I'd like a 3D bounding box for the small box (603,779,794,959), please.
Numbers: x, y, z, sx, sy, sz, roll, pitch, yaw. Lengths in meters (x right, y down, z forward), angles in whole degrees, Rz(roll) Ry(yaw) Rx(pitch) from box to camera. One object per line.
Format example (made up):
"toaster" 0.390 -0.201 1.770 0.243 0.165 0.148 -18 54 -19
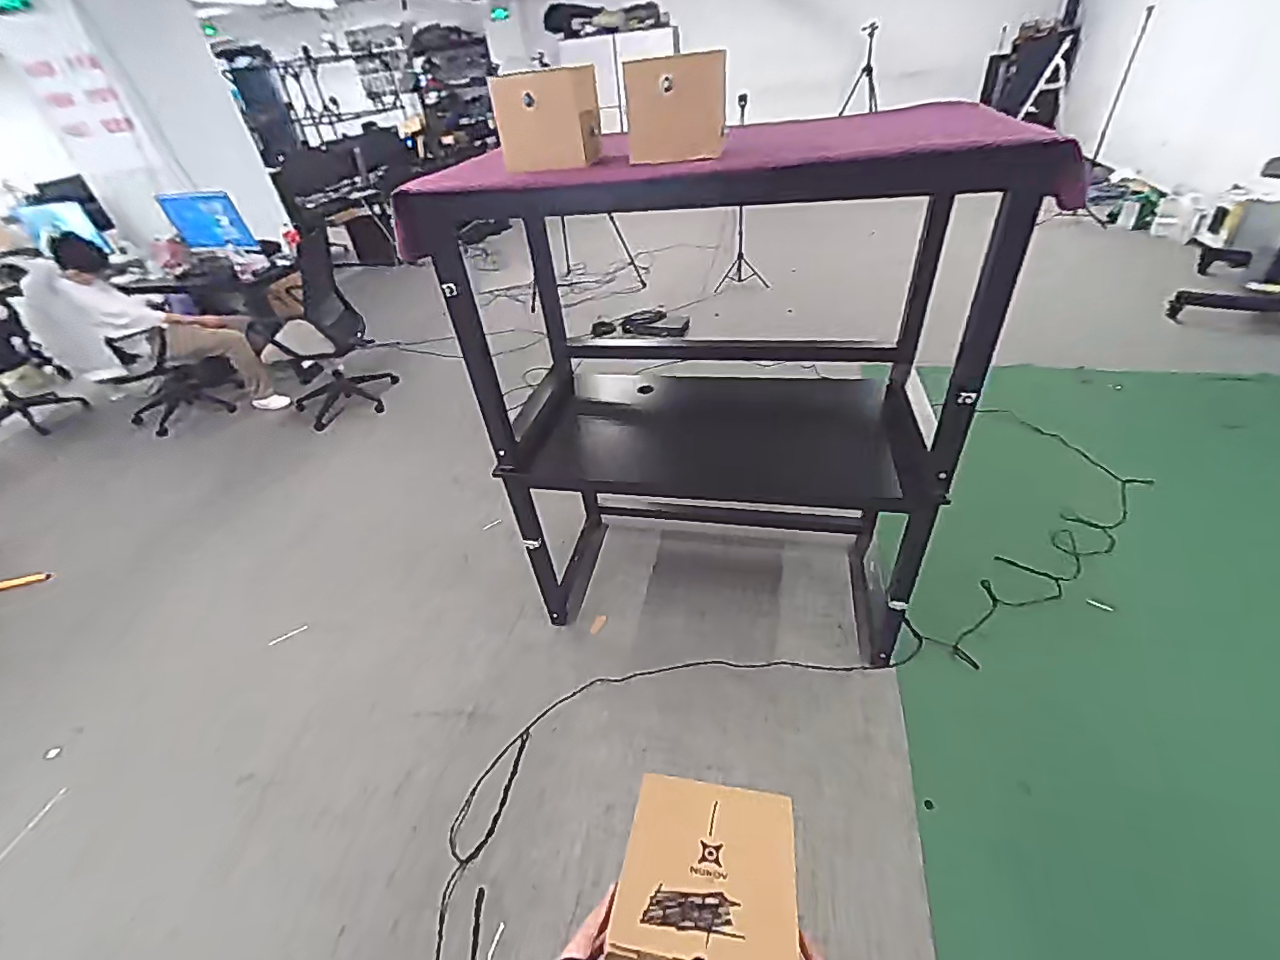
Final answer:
"small box" 0.069 0.453 0.555 0.168 0.176 0.179 3 22 12

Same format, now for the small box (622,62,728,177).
"small box" 0.077 -0.706 1.063 0.179 0.176 0.168 4 39 14

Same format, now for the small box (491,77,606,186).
"small box" -0.181 -0.728 1.133 0.179 0.176 0.168 2 39 12
